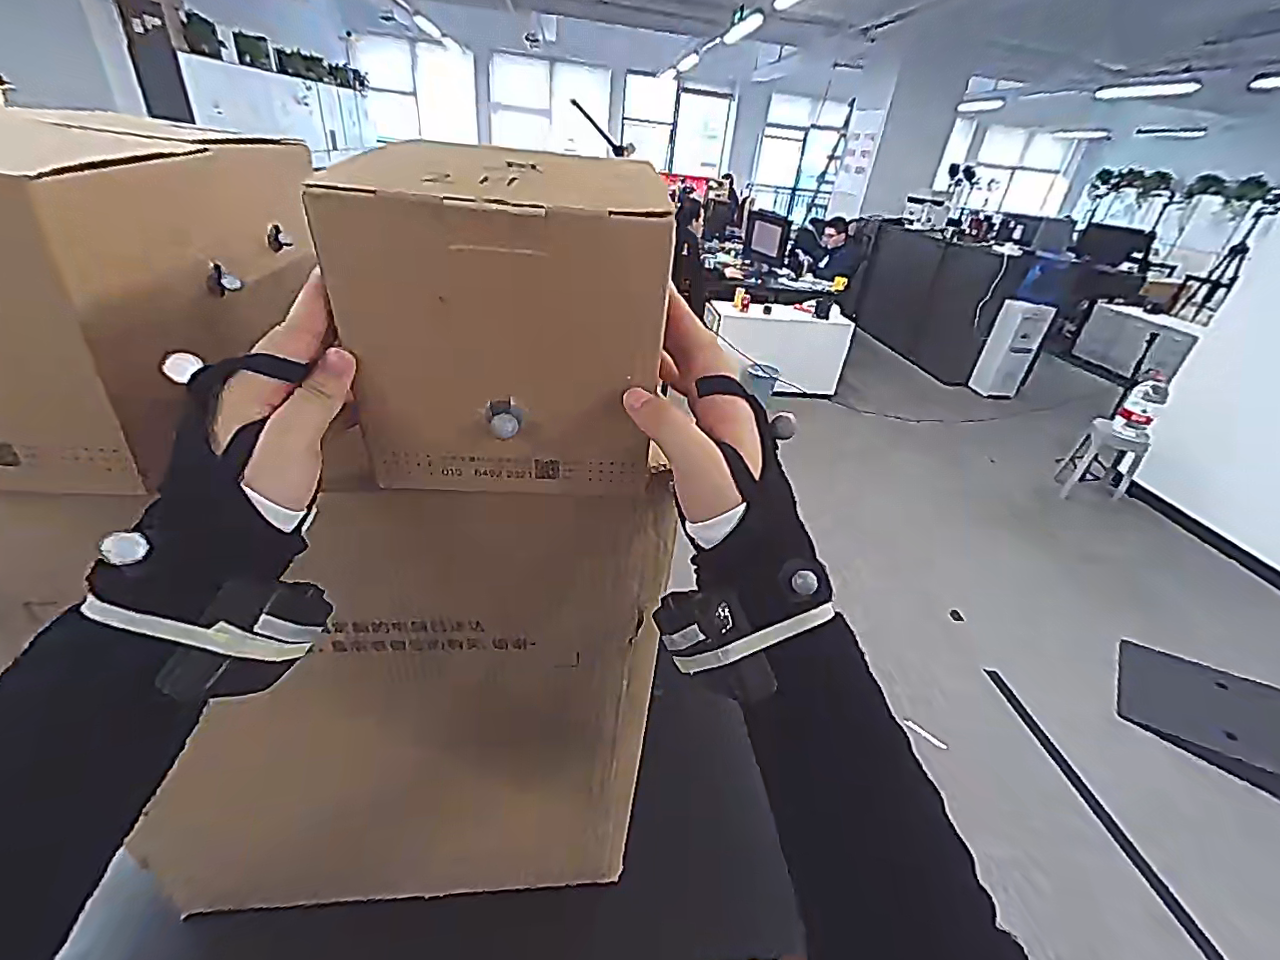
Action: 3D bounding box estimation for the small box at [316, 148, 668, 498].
[{"bbox_3d":[-0.078,-0.109,0.364,0.168,0.176,0.179,2,38,-5],"label":"small box"}]
